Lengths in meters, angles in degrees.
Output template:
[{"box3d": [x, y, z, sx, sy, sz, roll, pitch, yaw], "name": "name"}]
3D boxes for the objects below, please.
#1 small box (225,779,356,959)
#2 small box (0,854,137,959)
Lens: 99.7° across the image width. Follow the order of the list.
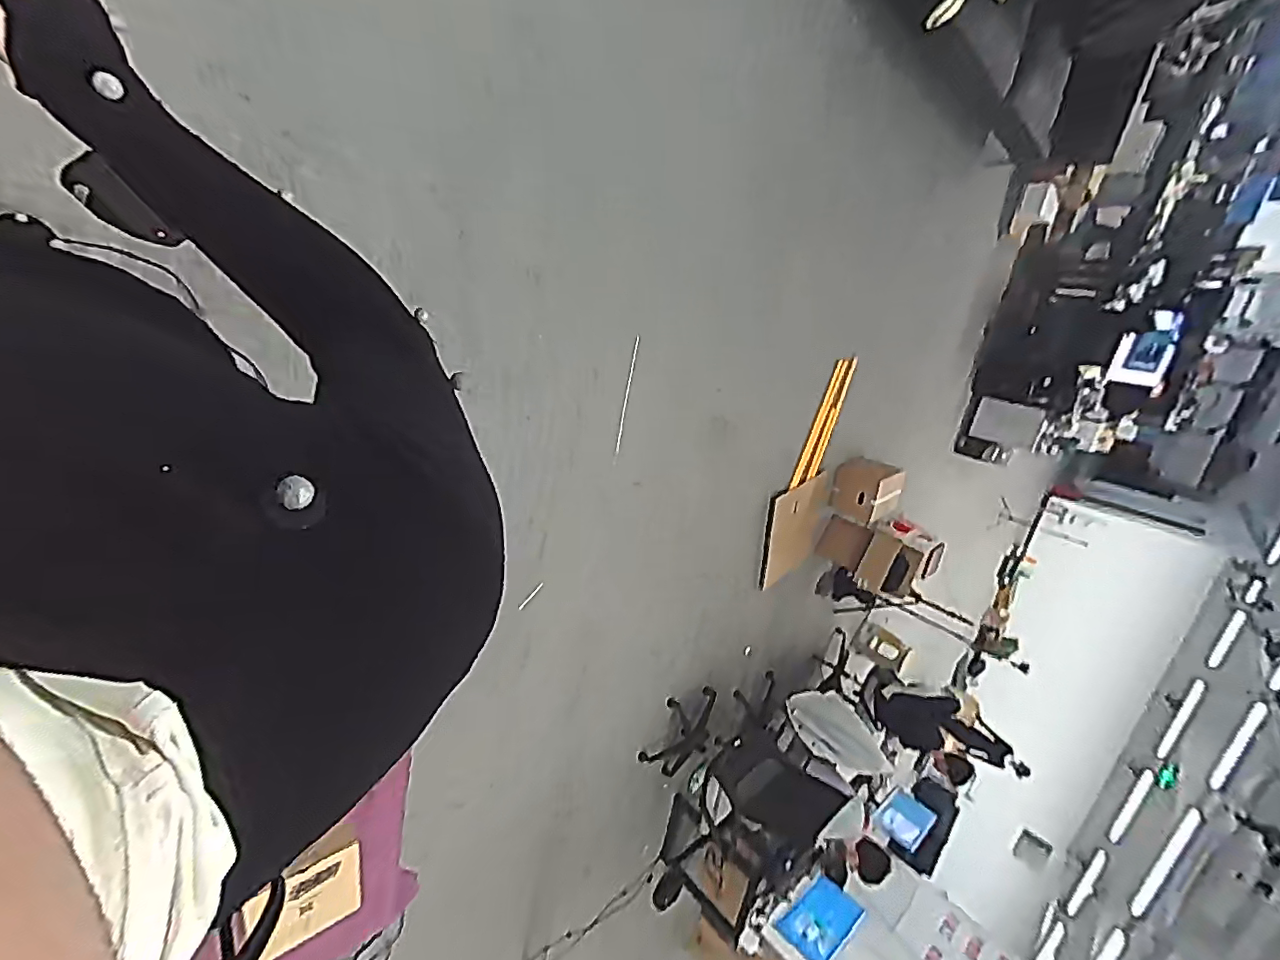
[{"box3d": [-0.618, 0.670, 0.959, 0.168, 0.176, 0.179, -8, 118, -41], "name": "small box"}, {"box3d": [-0.832, 0.694, 0.769, 0.168, 0.176, 0.179, -5, 113, -44], "name": "small box"}]
